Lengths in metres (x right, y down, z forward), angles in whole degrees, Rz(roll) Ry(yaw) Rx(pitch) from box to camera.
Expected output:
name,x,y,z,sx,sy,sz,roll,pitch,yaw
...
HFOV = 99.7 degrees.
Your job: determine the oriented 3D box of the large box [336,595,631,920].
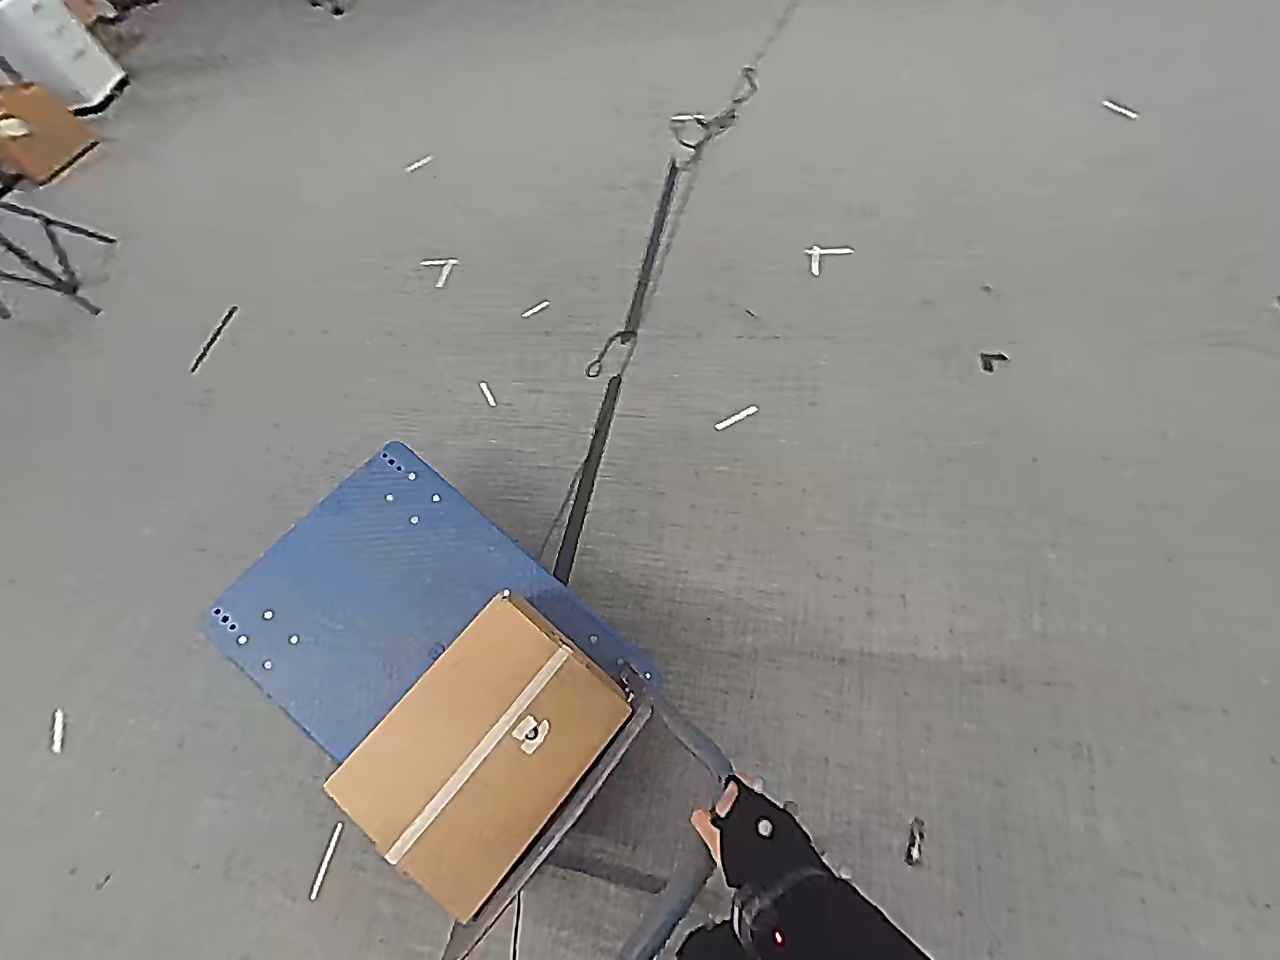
name,x,y,z,sx,sy,sz,roll,pitch,yaw
large box,-0.268,0.487,1.045,0.320,0.320,0.408,40,74,4
